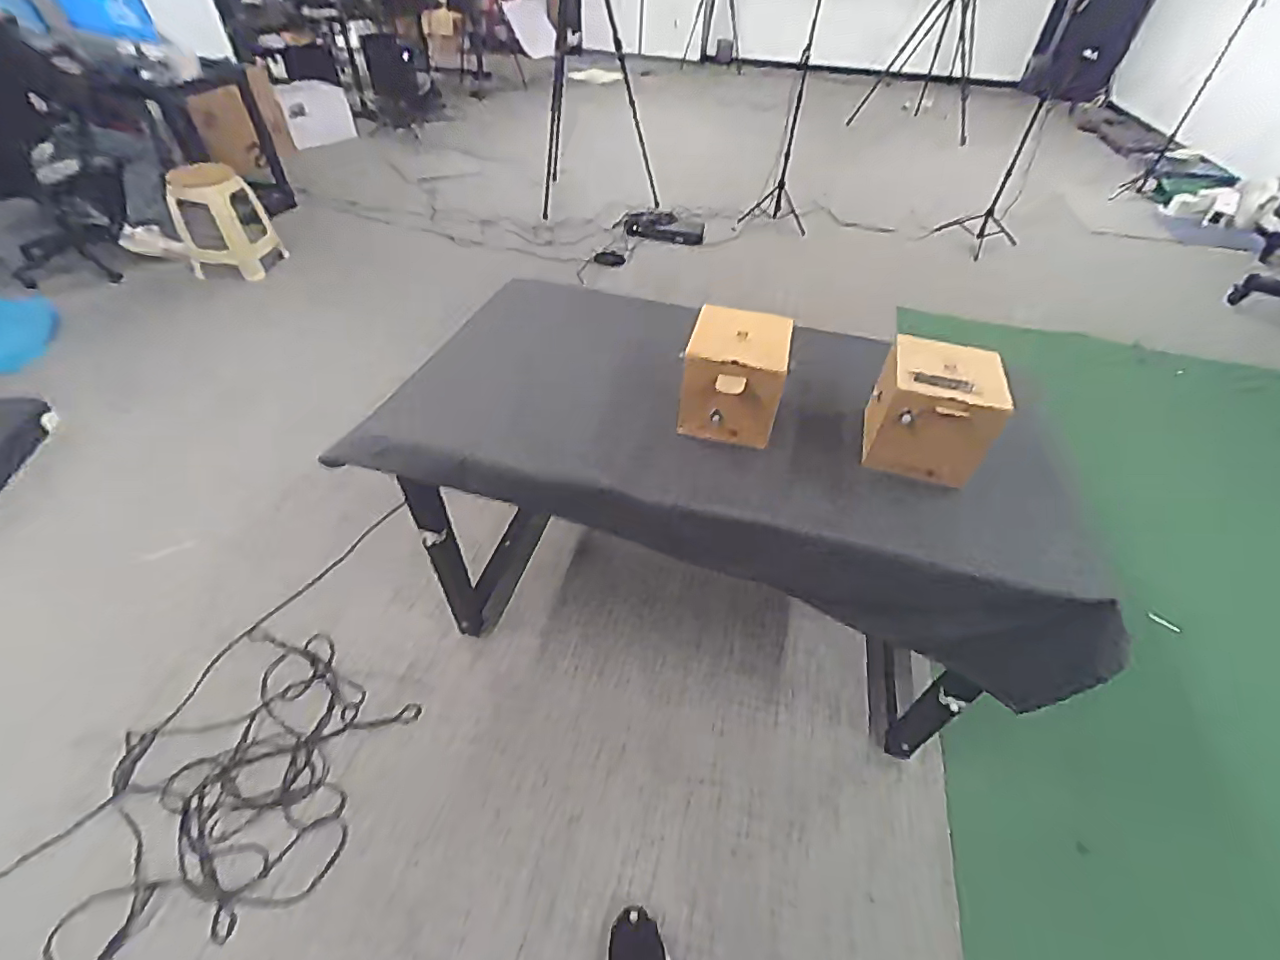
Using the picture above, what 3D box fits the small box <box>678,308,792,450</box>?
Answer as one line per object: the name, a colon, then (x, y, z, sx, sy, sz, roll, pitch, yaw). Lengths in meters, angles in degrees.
small box: (0.168, -0.182, 0.973, 0.168, 0.176, 0.179, 12, 46, 8)
